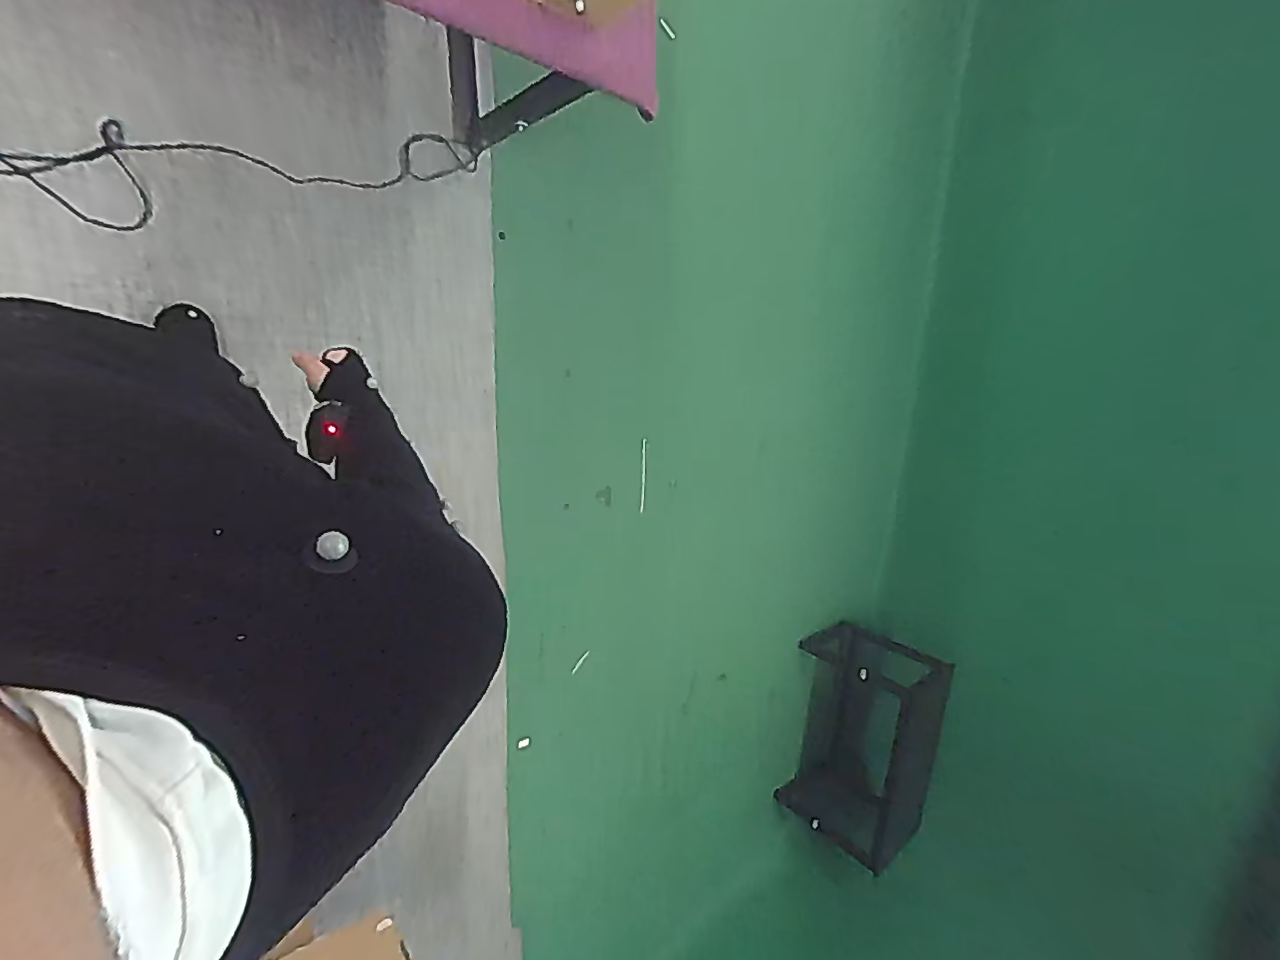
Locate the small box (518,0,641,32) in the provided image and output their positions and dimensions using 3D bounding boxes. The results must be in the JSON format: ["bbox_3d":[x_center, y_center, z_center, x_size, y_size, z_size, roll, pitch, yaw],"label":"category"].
[{"bbox_3d":[-0.096,-0.855,0.840,0.168,0.176,0.179,-11,110,-39],"label":"small box"}]
